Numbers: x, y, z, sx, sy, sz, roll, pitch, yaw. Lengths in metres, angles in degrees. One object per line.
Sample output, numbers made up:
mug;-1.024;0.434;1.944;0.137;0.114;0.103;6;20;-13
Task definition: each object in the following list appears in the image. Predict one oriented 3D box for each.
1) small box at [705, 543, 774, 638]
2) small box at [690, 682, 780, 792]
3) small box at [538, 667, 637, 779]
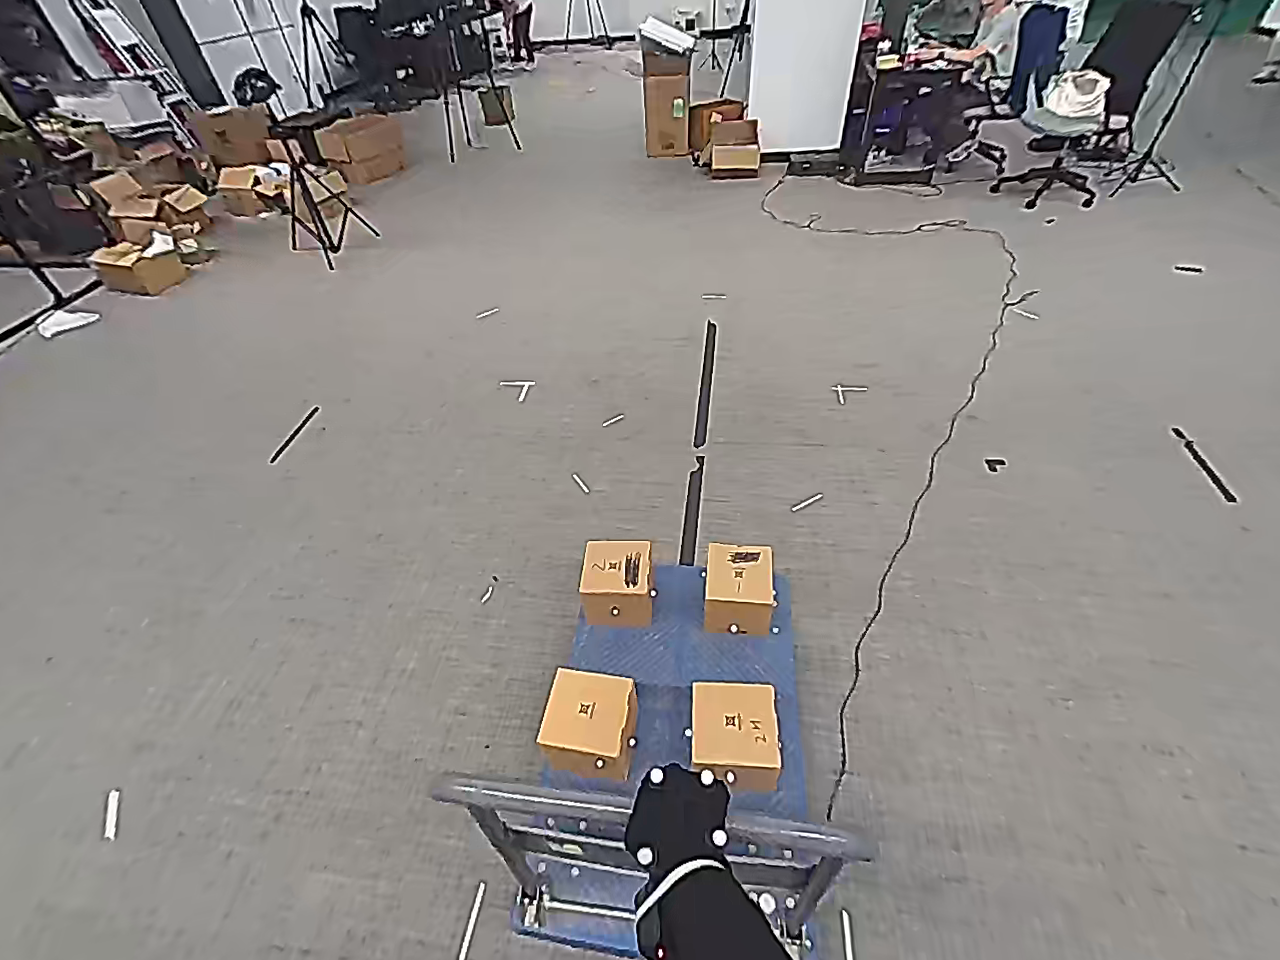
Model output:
small box;0.260;0.290;1.422;0.168;0.176;0.179;3;47;9
small box;0.200;0.554;1.164;0.179;0.176;0.168;1;45;7
small box;-0.108;0.543;1.205;0.179;0.176;0.168;6;45;9
